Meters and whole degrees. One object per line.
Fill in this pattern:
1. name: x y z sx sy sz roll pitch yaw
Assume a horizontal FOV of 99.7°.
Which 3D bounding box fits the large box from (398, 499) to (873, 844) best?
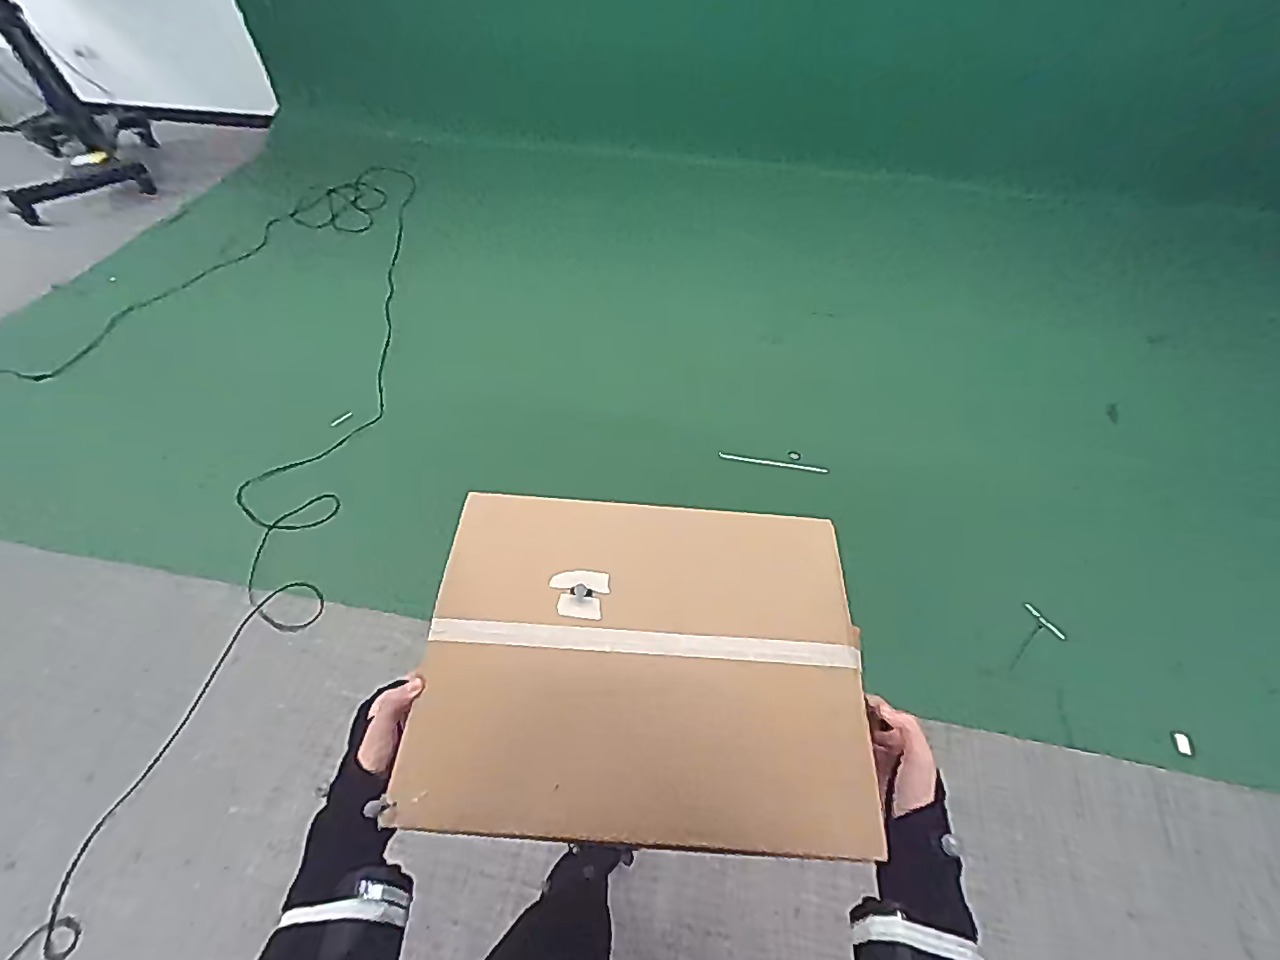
1. large box: 0.001 0.240 0.652 0.408 0.320 0.320 4 56 1
